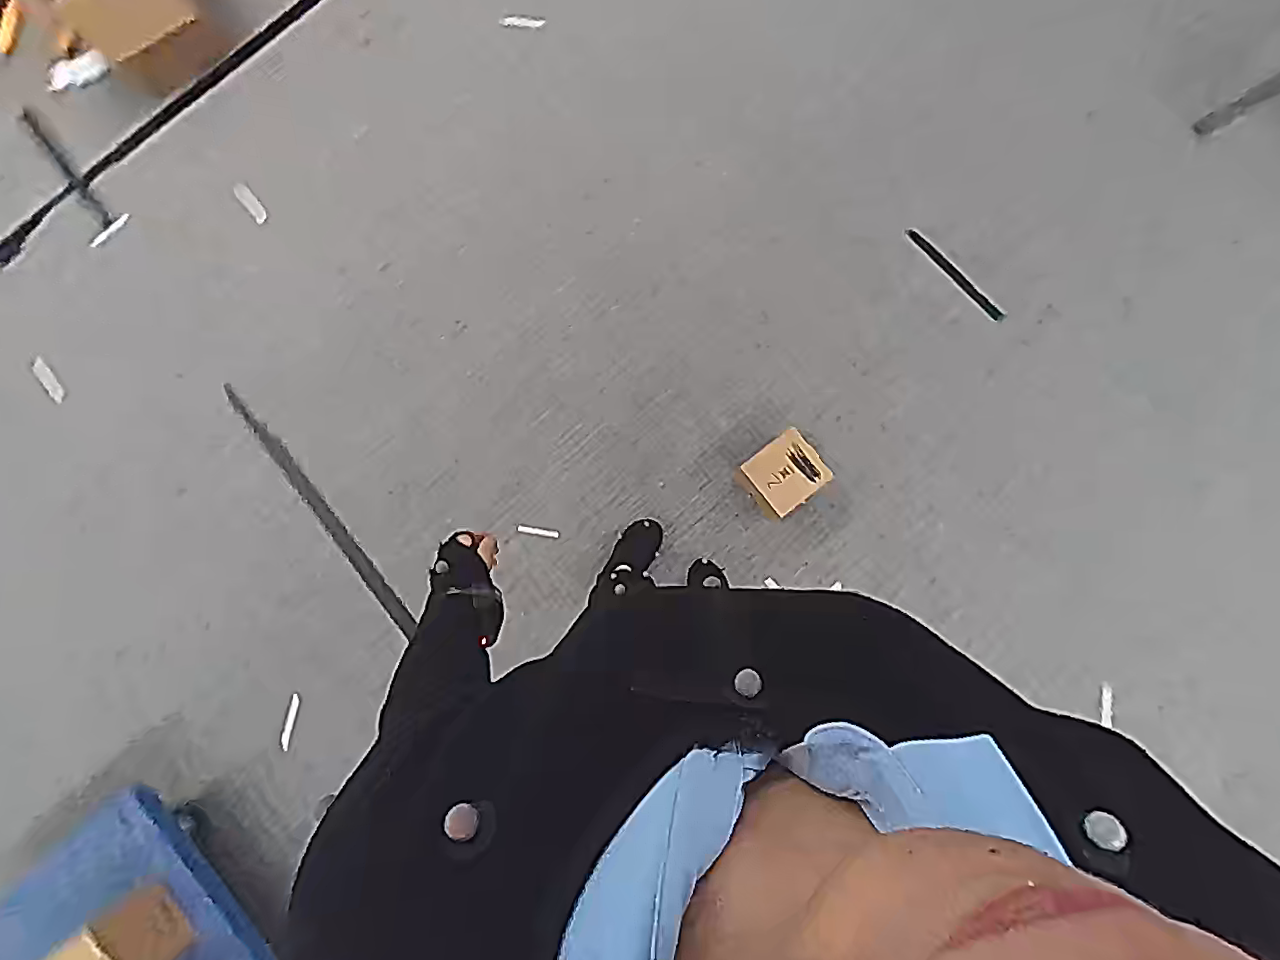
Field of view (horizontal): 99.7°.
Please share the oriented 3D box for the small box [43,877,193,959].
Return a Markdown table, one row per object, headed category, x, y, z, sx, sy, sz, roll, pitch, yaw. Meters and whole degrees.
| category | x | y | z | sx | sy | sz | roll | pitch | yaw |
| --- | --- | --- | --- | --- | --- | --- | --- | --- | --- |
| small box | -1.164 | 1.049 | 1.200 | 0.179 | 0.176 | 0.168 | -42 | 84 | -2 |
